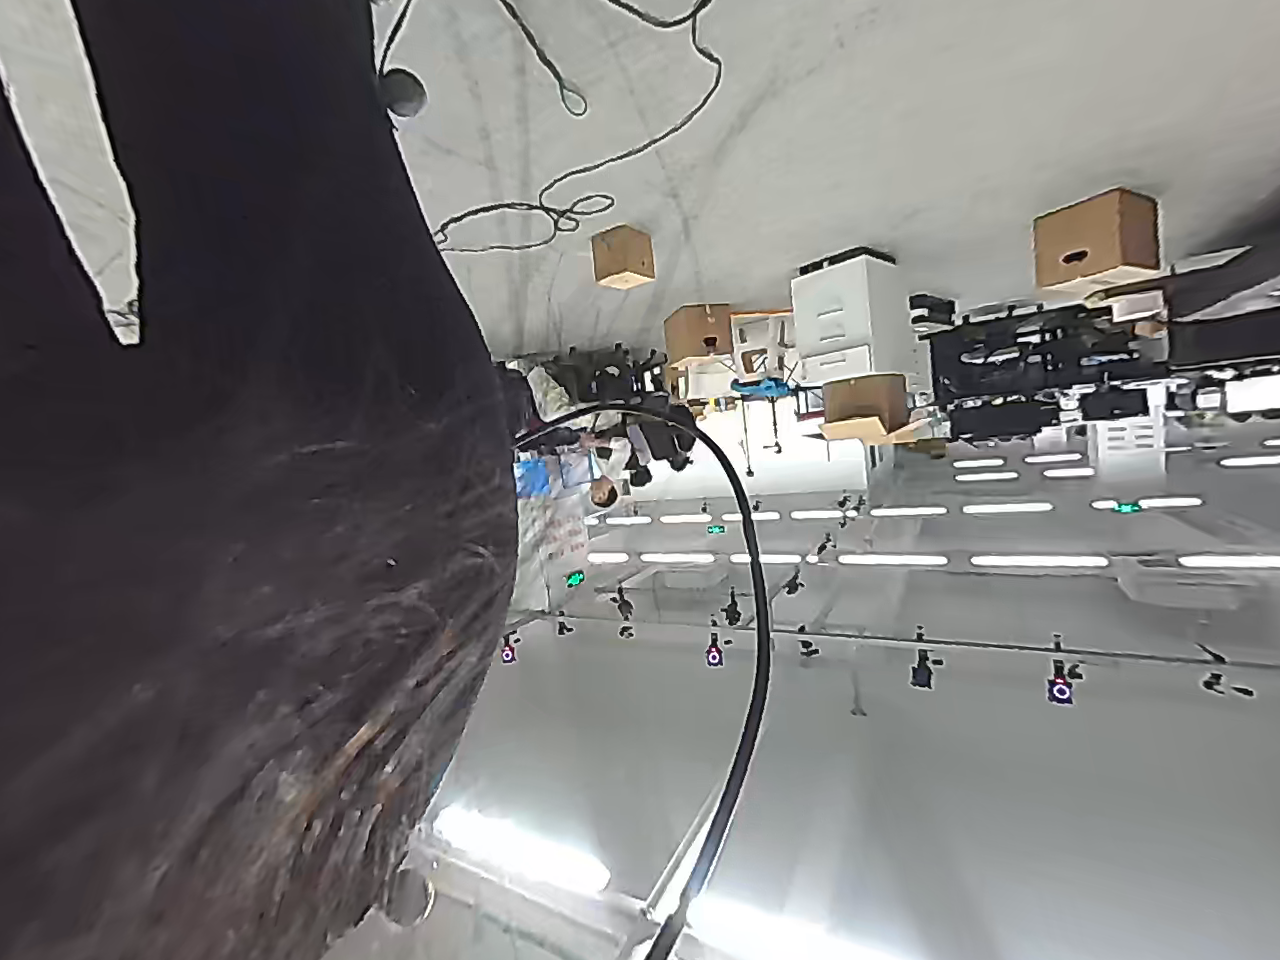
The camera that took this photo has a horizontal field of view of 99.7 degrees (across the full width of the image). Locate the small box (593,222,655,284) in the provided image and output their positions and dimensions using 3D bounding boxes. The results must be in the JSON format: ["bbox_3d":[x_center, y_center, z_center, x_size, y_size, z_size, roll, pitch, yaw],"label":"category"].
[{"bbox_3d":[-0.061,-0.873,2.083,0.168,0.176,0.179,-3,-174,38],"label":"small box"}]
